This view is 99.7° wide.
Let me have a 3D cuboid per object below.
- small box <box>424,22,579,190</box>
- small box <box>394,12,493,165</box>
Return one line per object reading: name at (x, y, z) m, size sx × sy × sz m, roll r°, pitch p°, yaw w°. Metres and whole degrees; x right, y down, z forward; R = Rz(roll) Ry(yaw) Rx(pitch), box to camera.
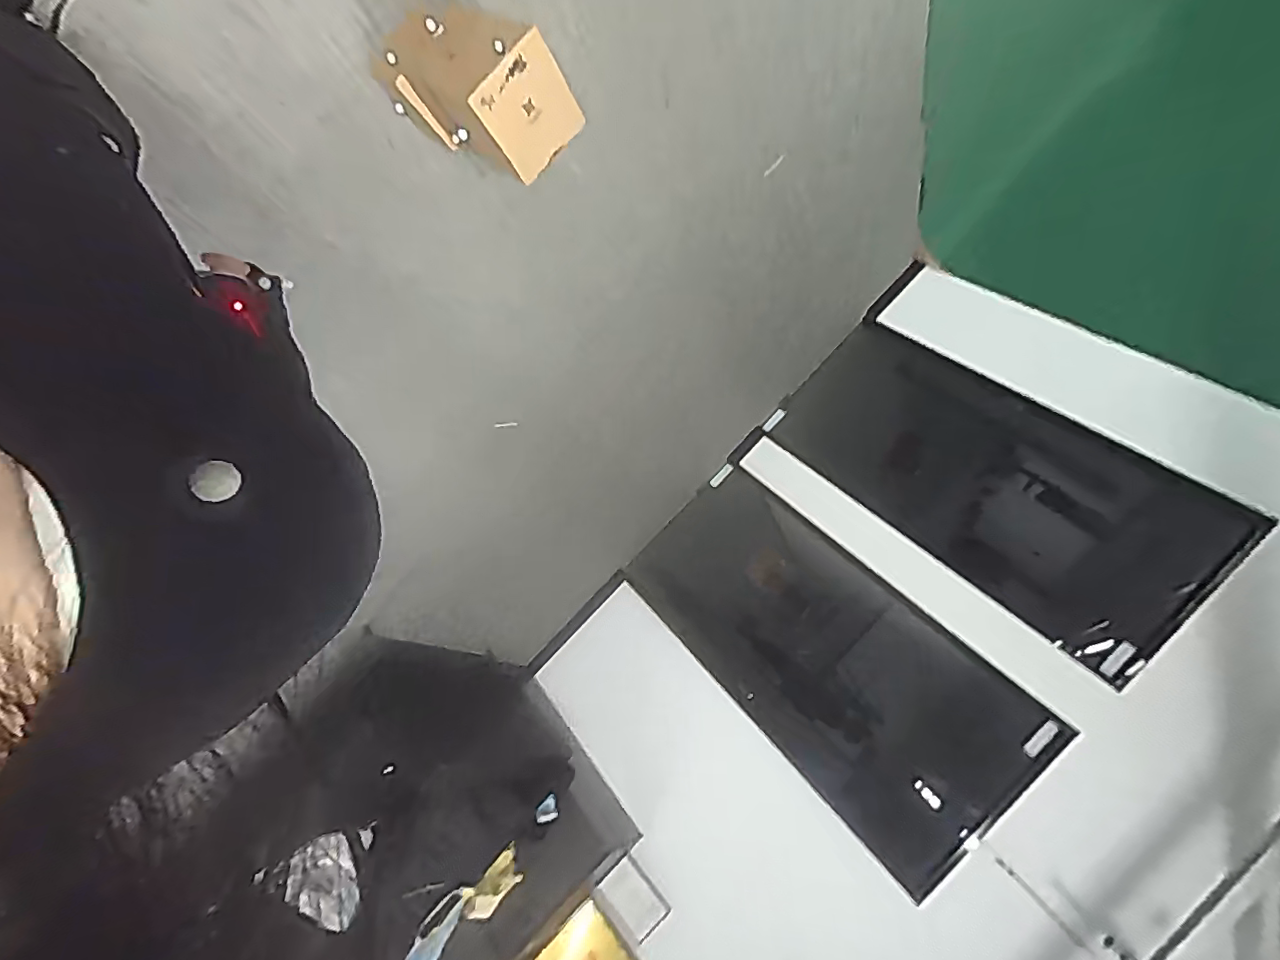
small box at (-0.249, -0.678, 0.982) m, size 0.168 × 0.176 × 0.179 m, roll -47°, pitch 149°, yaw -1°
small box at (-0.344, -0.777, 1.072) m, size 0.168 × 0.176 × 0.179 m, roll -47°, pitch 148°, yaw -1°
